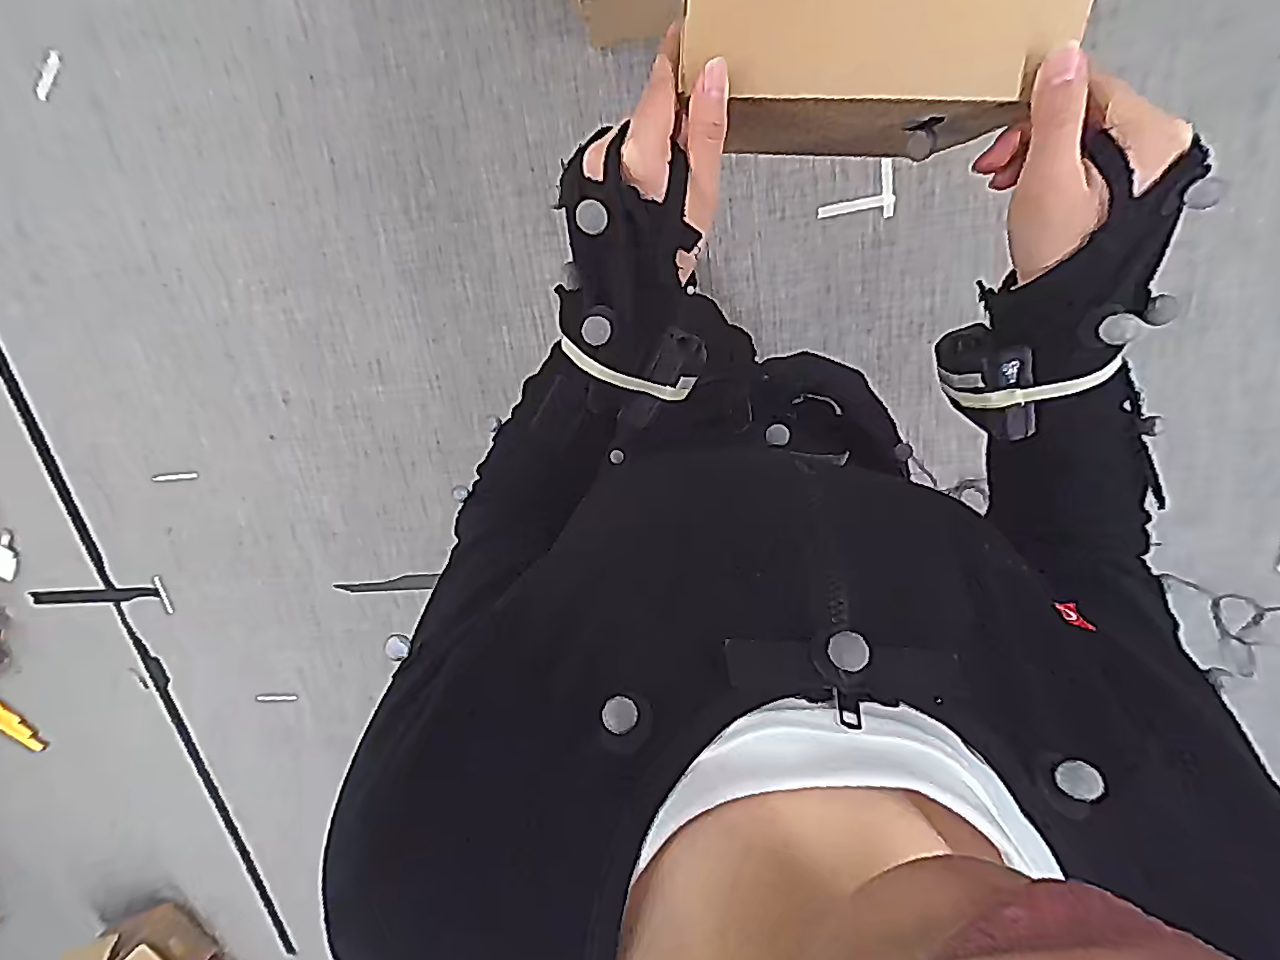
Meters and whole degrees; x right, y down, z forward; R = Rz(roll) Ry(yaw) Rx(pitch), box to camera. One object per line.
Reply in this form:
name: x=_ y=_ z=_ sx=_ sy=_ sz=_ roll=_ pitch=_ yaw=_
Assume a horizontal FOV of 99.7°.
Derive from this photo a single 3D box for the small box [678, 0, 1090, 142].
small box: x=0.114 y=-0.290 z=0.286 sx=0.179 sy=0.176 sz=0.168 roll=4 pitch=113 yaw=5
